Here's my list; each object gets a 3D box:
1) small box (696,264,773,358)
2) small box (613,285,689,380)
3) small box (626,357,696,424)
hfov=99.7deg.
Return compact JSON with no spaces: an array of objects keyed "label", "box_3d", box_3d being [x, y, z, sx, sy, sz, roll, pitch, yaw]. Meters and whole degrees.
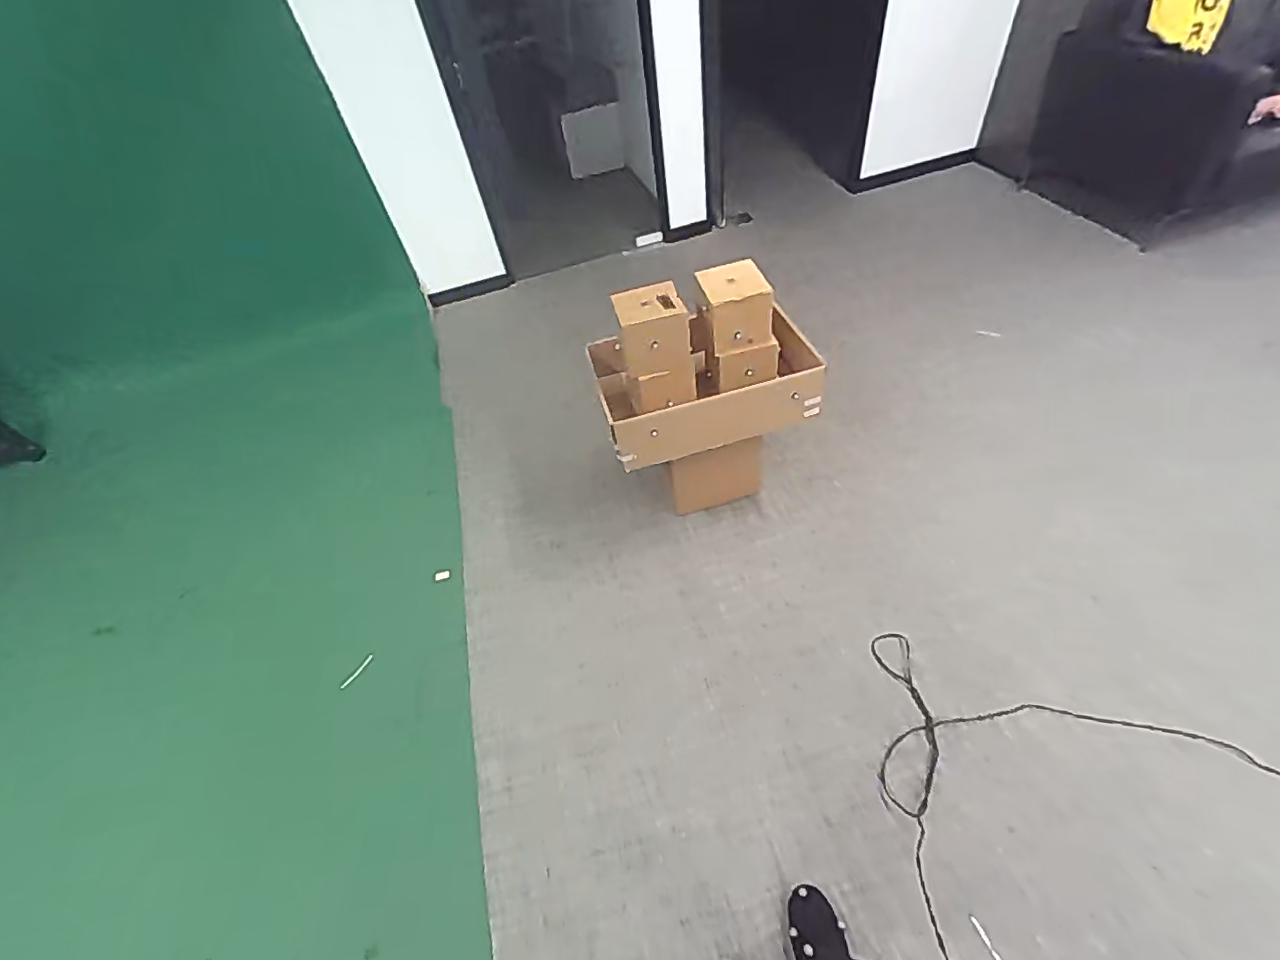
[{"label":"small box","box_3d":[0.260,-0.468,1.504,0.168,0.176,0.179,-14,48,-2]},{"label":"small box","box_3d":[0.034,-0.401,1.480,0.179,0.176,0.168,-14,48,-2]},{"label":"small box","box_3d":[0.059,-0.297,1.603,0.168,0.176,0.179,-19,49,-7]}]
